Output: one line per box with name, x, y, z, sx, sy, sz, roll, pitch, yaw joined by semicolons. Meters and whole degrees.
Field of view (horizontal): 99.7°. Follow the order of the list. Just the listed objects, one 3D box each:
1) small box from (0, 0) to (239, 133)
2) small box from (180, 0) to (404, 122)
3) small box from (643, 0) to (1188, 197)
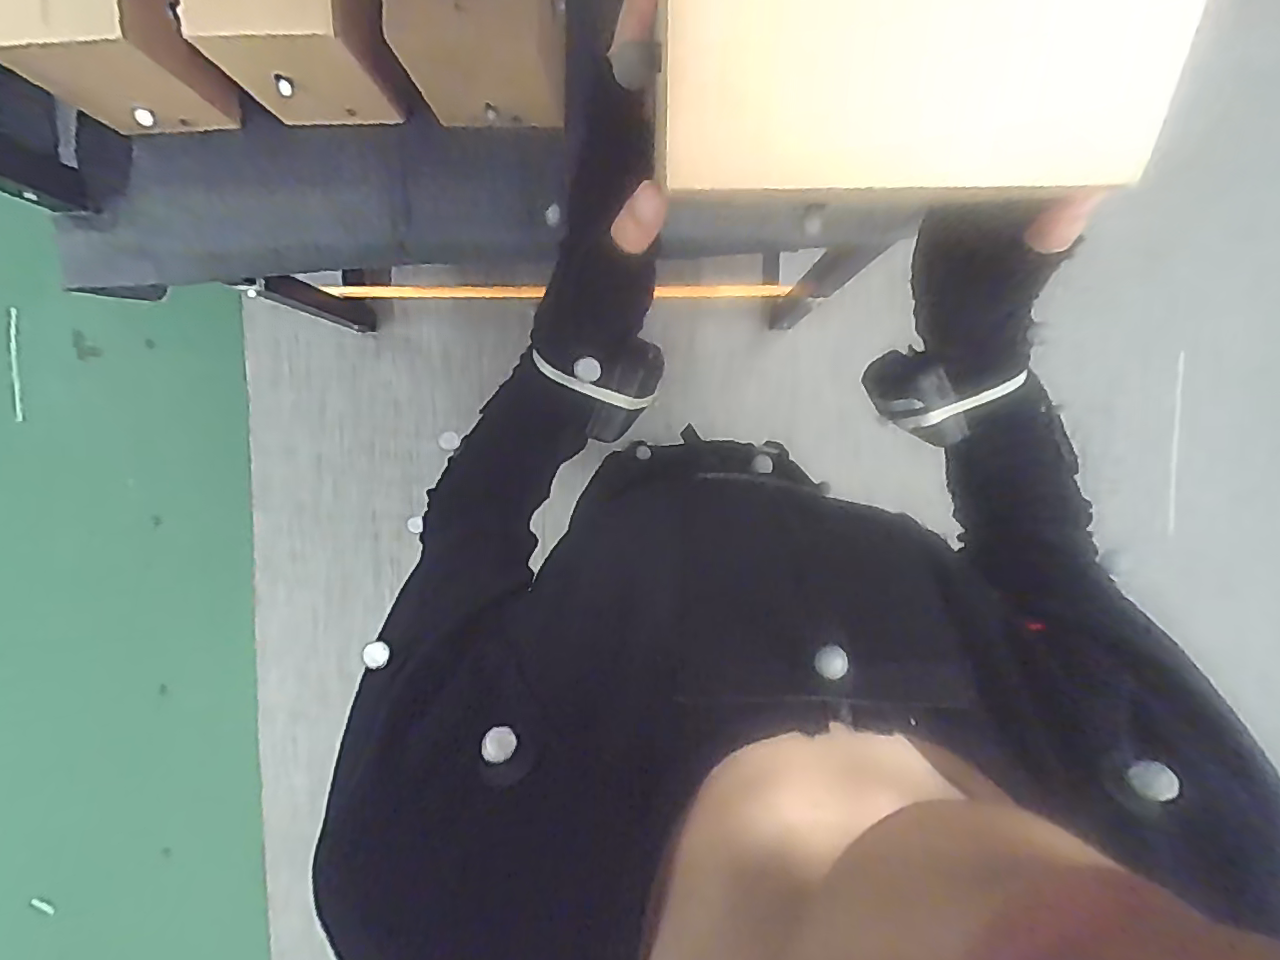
small box;-0.623;-0.553;0.645;0.168;0.176;0.179;-2;94;2
small box;-0.397;-0.557;0.641;0.168;0.176;0.179;0;93;1
small box;0.086;-0.217;0.222;0.168;0.176;0.179;0;114;0
